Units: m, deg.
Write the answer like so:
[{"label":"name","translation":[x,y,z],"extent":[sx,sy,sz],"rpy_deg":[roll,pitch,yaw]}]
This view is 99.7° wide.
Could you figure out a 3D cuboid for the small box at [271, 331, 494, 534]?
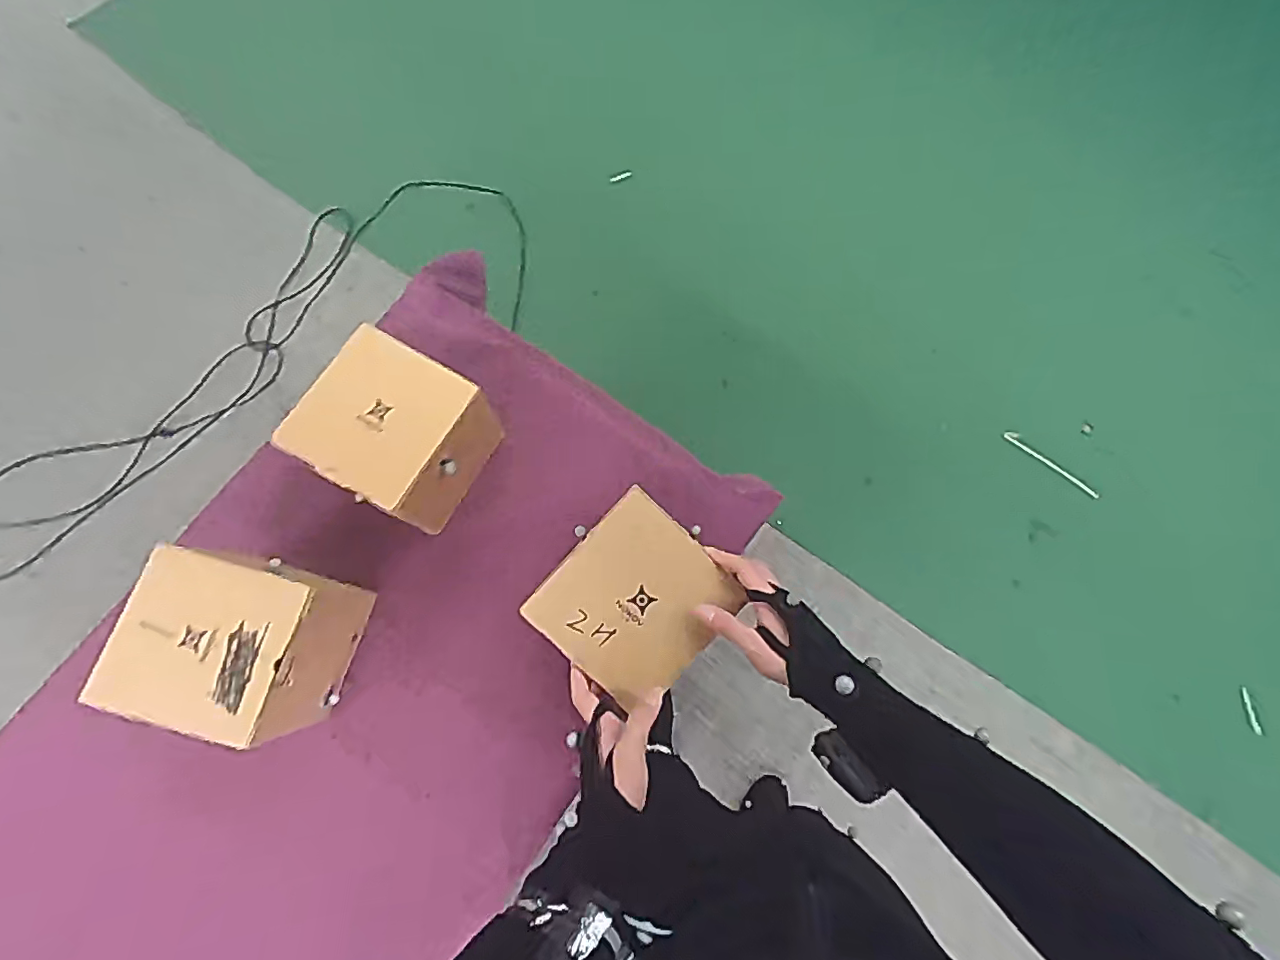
[{"label":"small box","translation":[-0.305,-0.049,0.693],"extent":[0.168,0.176,0.179],"rpy_deg":[29,78,4]}]

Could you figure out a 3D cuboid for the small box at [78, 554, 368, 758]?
[{"label":"small box","translation":[-0.452,0.192,0.625],"extent":[0.179,0.176,0.168],"rpy_deg":[15,76,1]}]

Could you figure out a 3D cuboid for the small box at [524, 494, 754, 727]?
[{"label":"small box","translation":[-0.002,0.129,0.616],"extent":[0.168,0.176,0.179],"rpy_deg":[44,91,0]}]
